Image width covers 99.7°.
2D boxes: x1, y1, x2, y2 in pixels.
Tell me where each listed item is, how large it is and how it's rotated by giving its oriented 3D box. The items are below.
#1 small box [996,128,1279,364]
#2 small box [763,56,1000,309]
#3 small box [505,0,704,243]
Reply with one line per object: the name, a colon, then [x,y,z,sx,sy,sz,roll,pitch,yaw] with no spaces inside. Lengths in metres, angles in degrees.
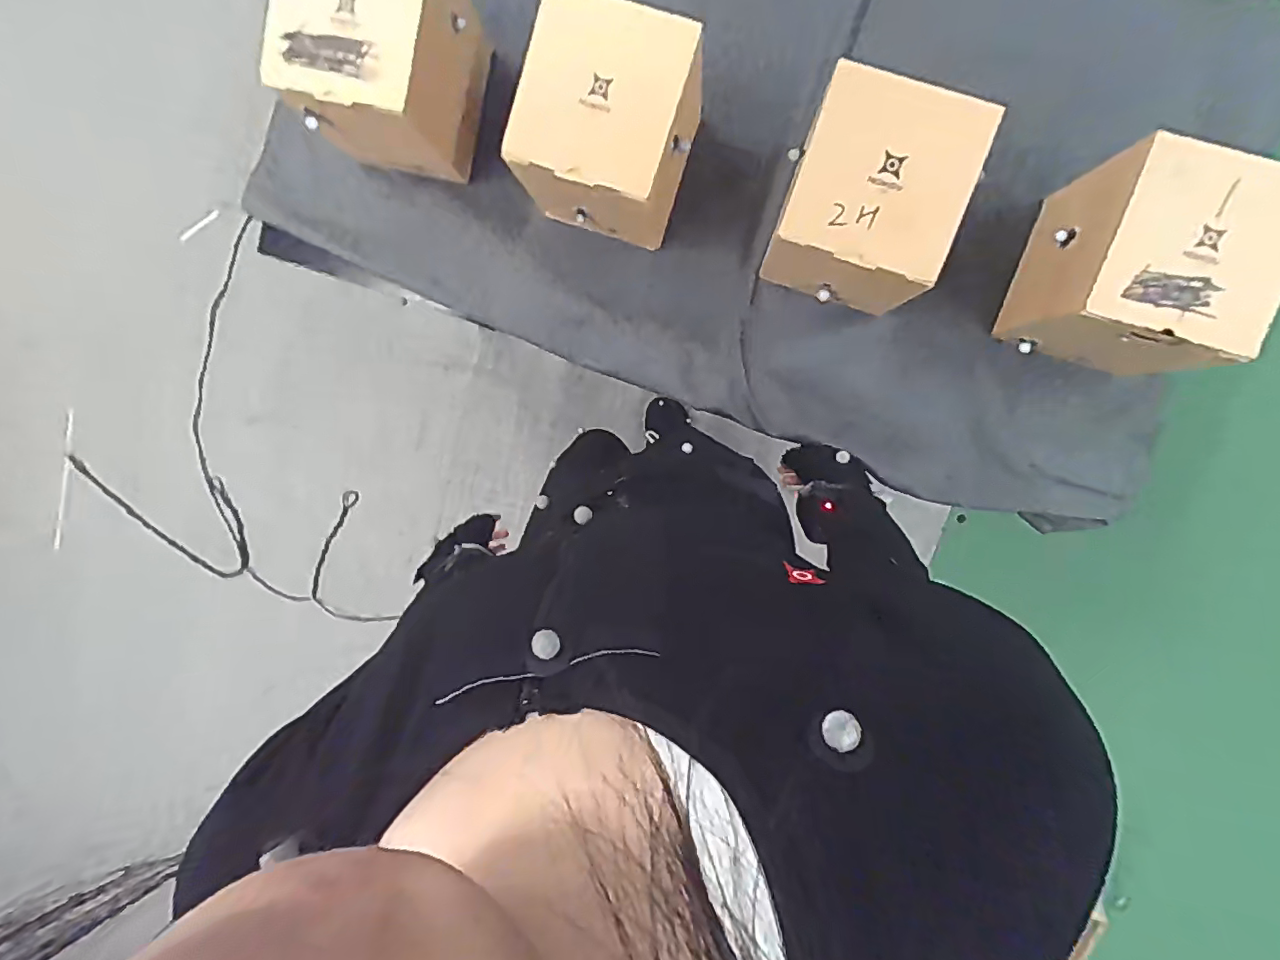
small box: [0.538,-0.236,0.597,0.168,0.176,0.179,18,98,2]
small box: [0.250,-0.315,0.612,0.168,0.176,0.179,19,99,3]
small box: [-0.034,-0.405,0.626,0.168,0.176,0.179,18,99,2]
